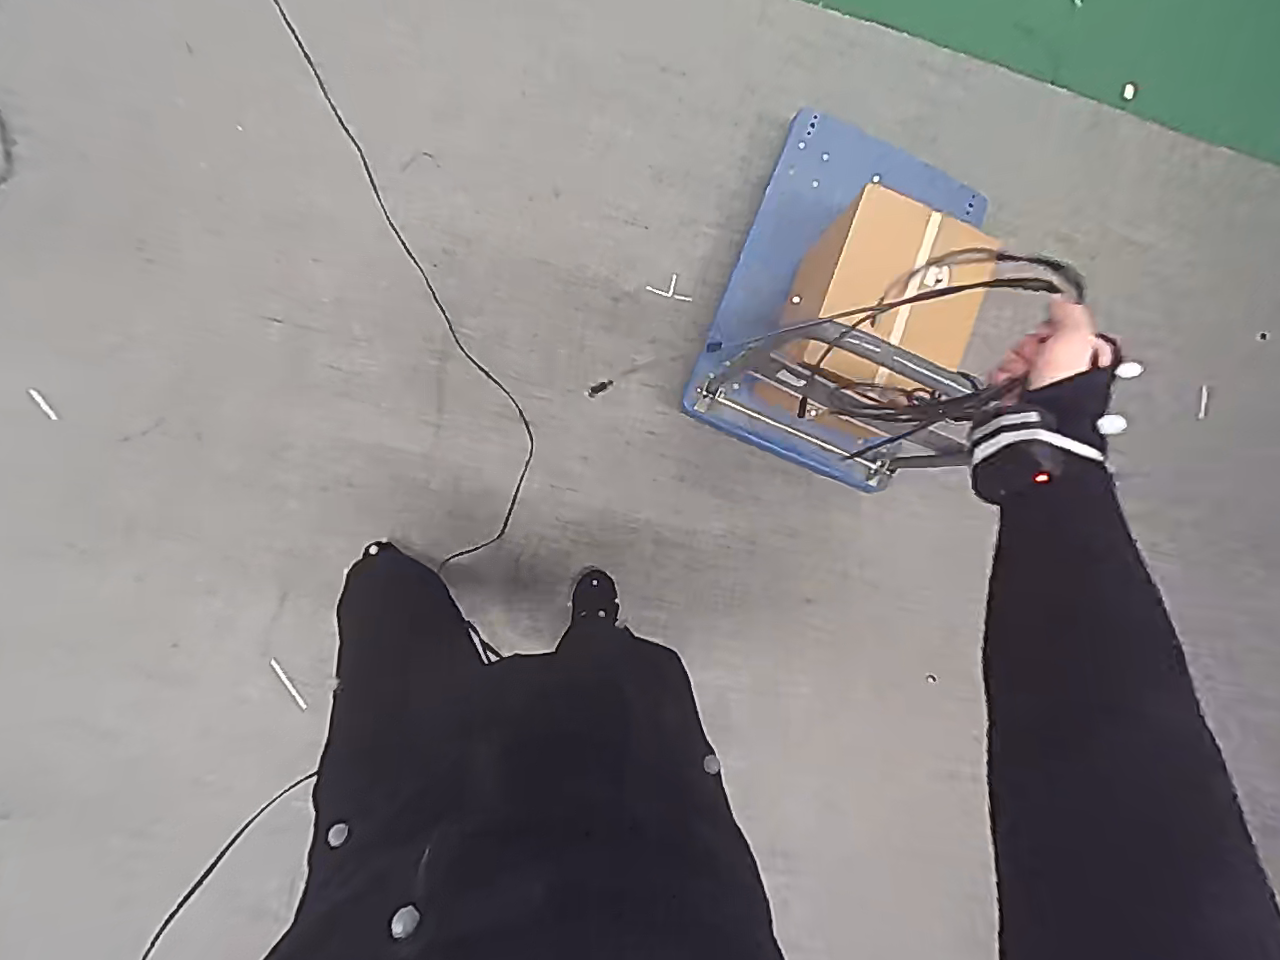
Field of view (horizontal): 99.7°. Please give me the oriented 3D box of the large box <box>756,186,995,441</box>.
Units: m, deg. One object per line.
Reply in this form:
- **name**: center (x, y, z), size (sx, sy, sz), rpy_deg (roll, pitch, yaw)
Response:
- **large box**: center (0.503, -0.342, 1.221), size (0.320, 0.320, 0.408), rpy_deg (22, 84, -5)
